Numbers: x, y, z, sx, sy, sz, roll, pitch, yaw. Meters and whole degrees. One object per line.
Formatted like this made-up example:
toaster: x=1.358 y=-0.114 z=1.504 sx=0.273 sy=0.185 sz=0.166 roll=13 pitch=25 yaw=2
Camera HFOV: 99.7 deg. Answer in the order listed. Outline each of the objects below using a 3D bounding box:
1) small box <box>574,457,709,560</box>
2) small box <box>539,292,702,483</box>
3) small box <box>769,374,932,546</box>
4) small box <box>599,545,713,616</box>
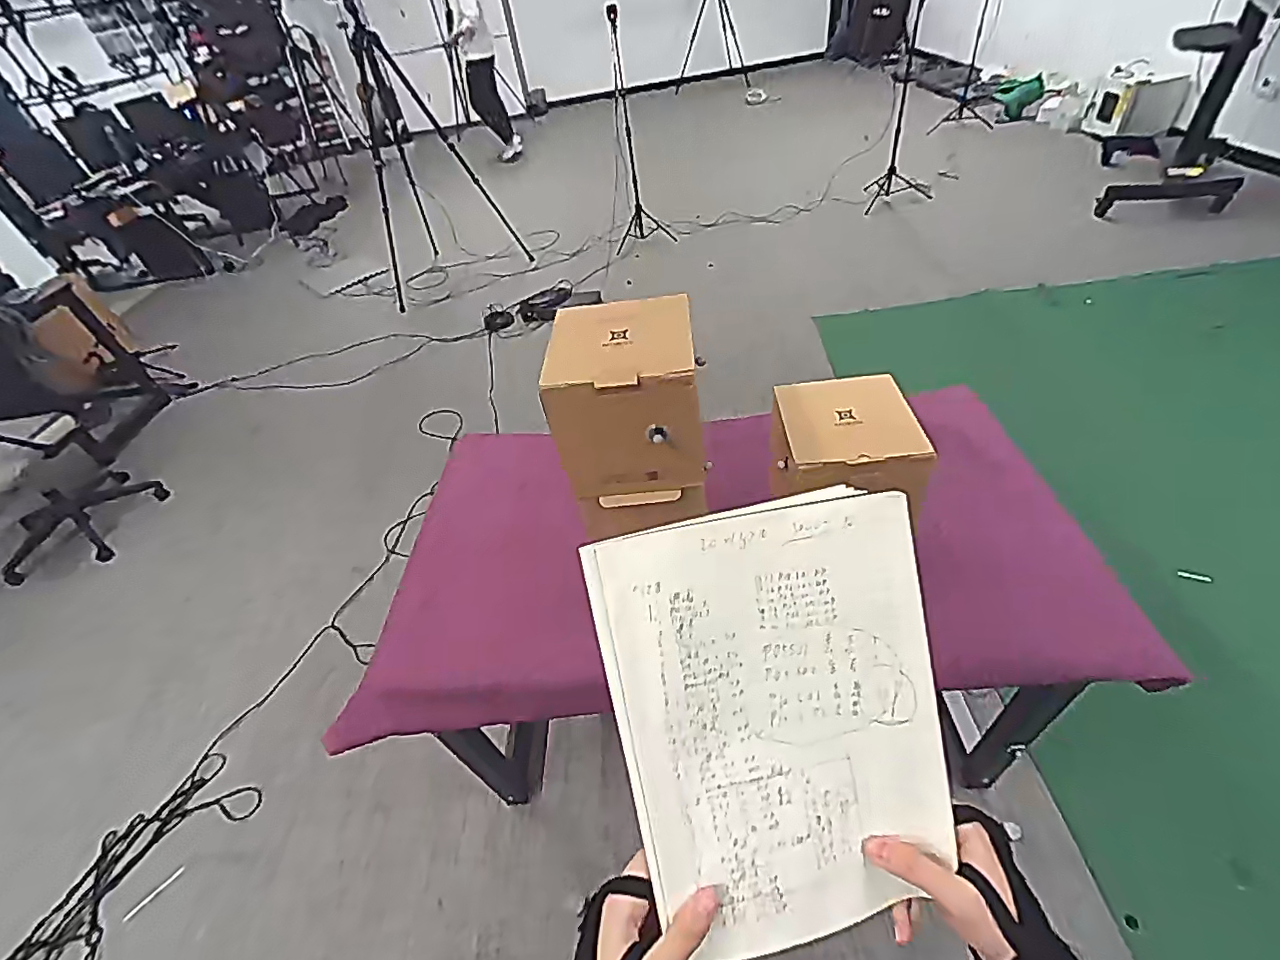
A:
small box: x=0.009 y=0.004 z=0.787 sx=0.168 sy=0.176 sz=0.179 roll=-5 pitch=44 yaw=6
small box: x=-0.013 y=-0.108 z=0.671 sx=0.168 sy=0.176 sz=0.179 roll=-4 pitch=44 yaw=6
small box: x=0.280 y=-0.028 z=0.767 sx=0.168 sy=0.176 sz=0.179 roll=-5 pitch=44 yaw=6
small box: x=0.032 y=0.116 z=0.907 sx=0.168 sy=0.176 sz=0.179 roll=-5 pitch=45 yaw=6
